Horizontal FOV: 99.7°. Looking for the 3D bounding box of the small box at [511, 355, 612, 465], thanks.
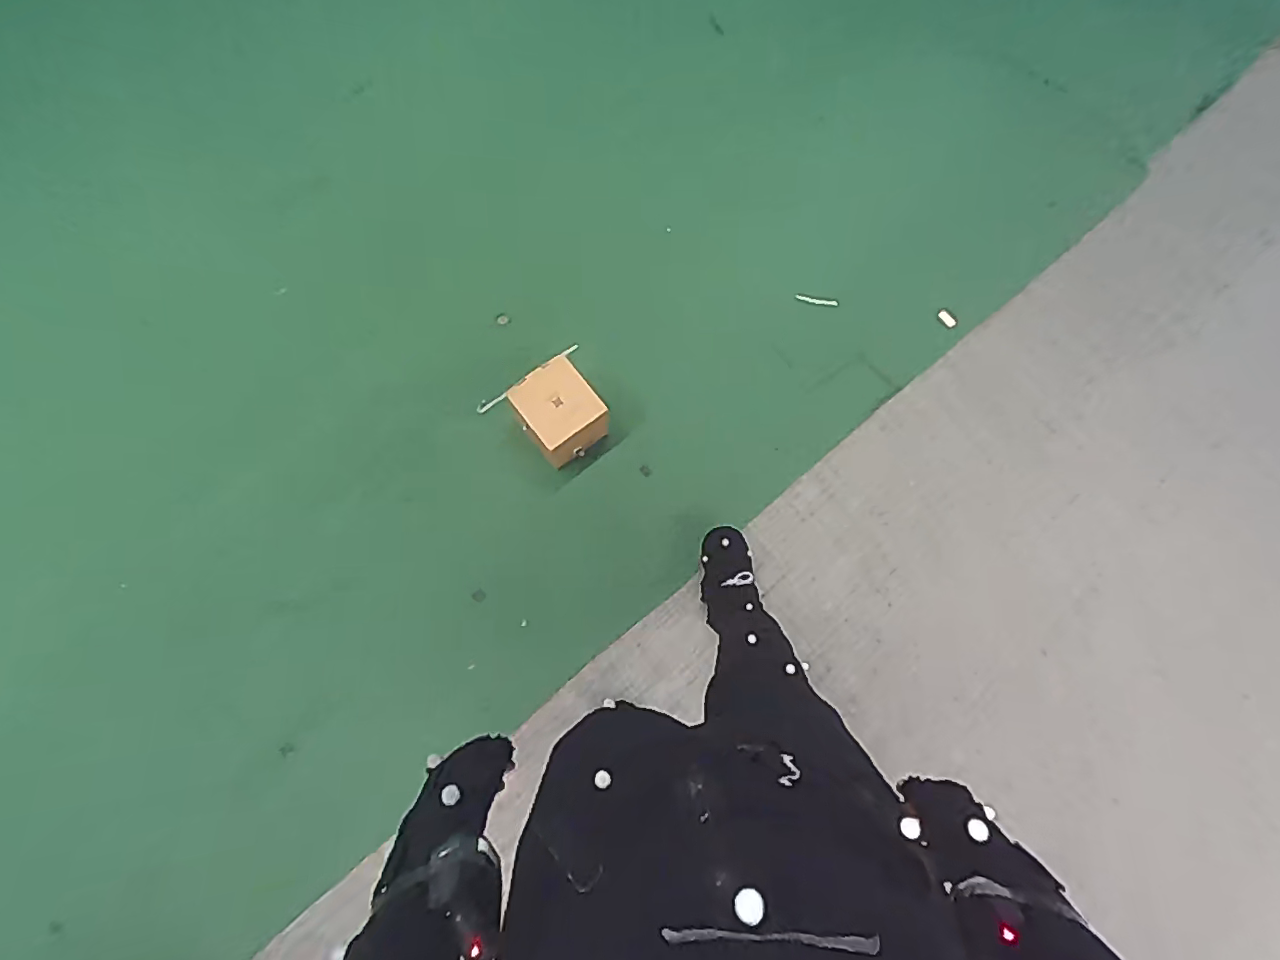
[{"bbox_3d":[-0.185,-0.162,1.308,0.168,0.176,0.179,-38,82,-11],"label":"small box"}]
